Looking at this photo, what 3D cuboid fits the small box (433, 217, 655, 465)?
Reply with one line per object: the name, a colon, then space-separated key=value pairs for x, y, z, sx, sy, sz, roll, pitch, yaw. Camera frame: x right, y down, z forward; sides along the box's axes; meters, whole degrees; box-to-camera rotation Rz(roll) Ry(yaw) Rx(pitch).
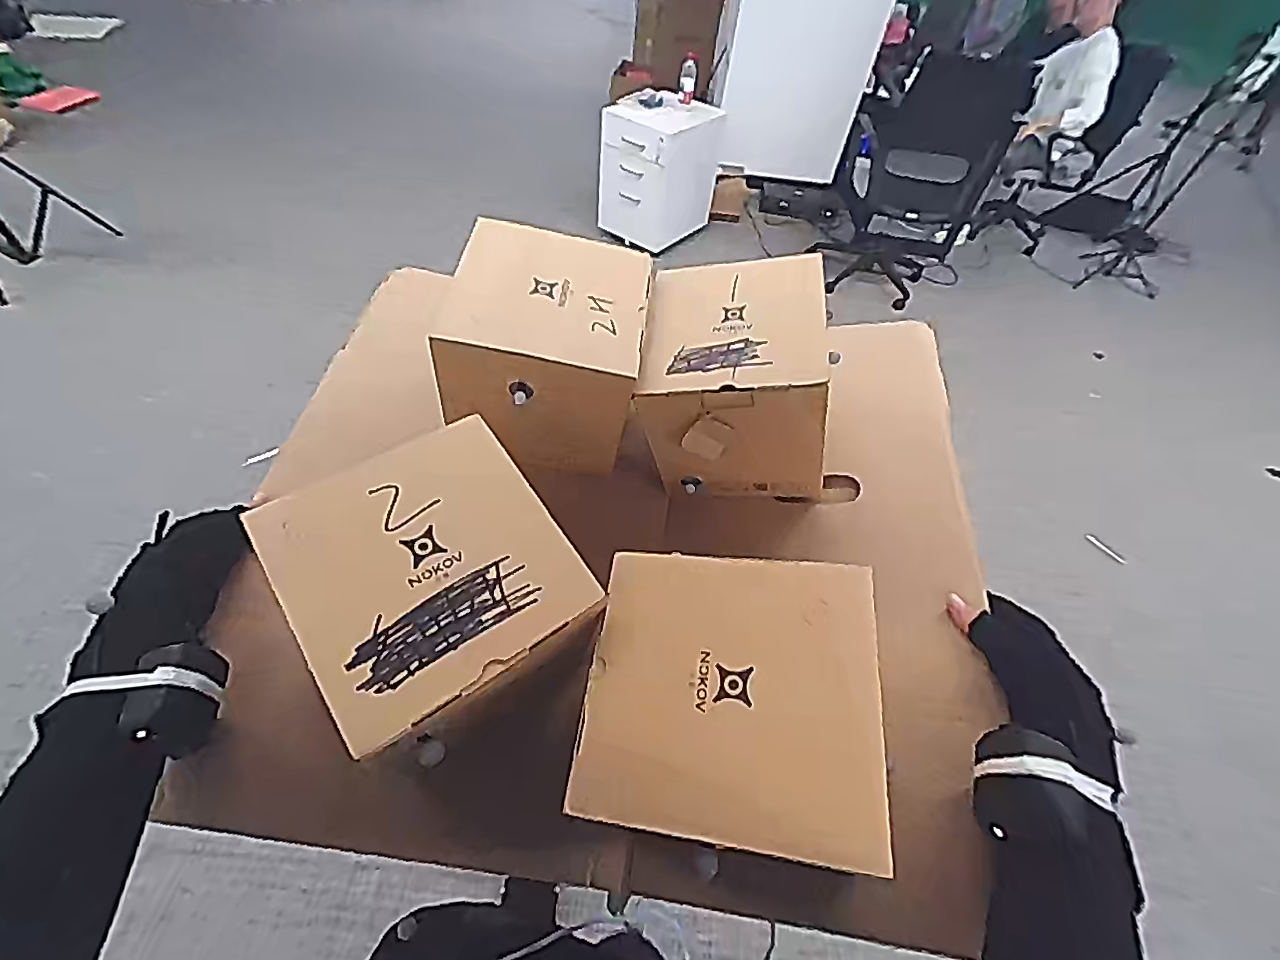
small box: x=-0.093 y=-0.134 z=0.563 sx=0.179 sy=0.176 sz=0.168 roll=11 pitch=59 yaw=-6
